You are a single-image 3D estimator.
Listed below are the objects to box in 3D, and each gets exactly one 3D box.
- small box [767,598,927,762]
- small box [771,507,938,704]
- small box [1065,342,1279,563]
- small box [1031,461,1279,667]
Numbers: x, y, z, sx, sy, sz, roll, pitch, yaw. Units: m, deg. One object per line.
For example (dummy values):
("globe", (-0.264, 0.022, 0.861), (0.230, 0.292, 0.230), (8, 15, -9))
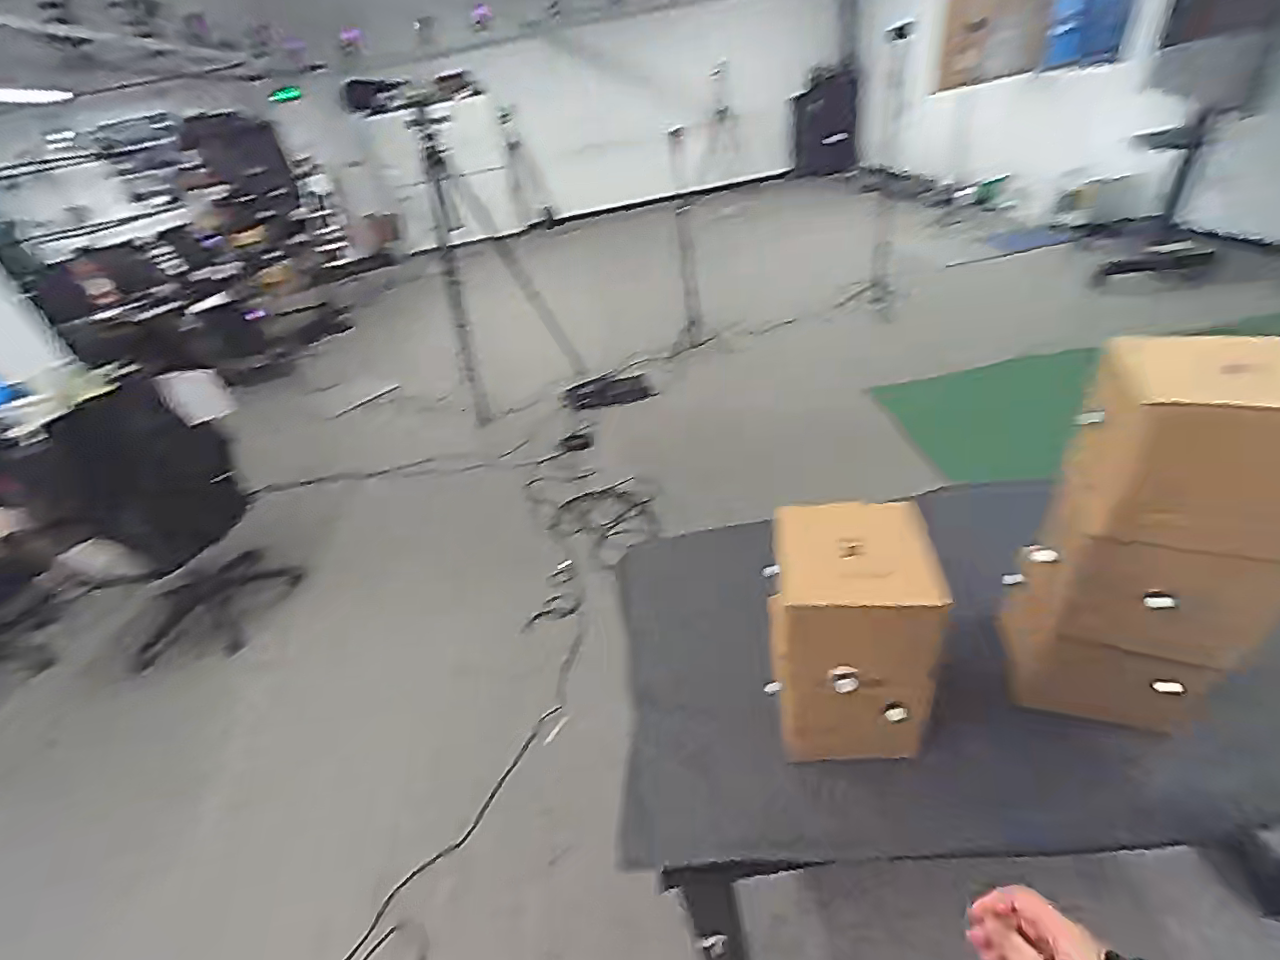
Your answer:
("small box", (0.280, 0.283, 0.775), (0.179, 0.176, 0.168), (-6, 34, 8))
("small box", (0.253, 0.153, 0.681), (0.168, 0.176, 0.179), (-4, 36, 13))
("small box", (0.576, -0.034, 0.565), (0.179, 0.176, 0.168), (8, 38, 24))
("small box", (0.604, 0.098, 0.657), (0.179, 0.176, 0.168), (8, 38, 27))
